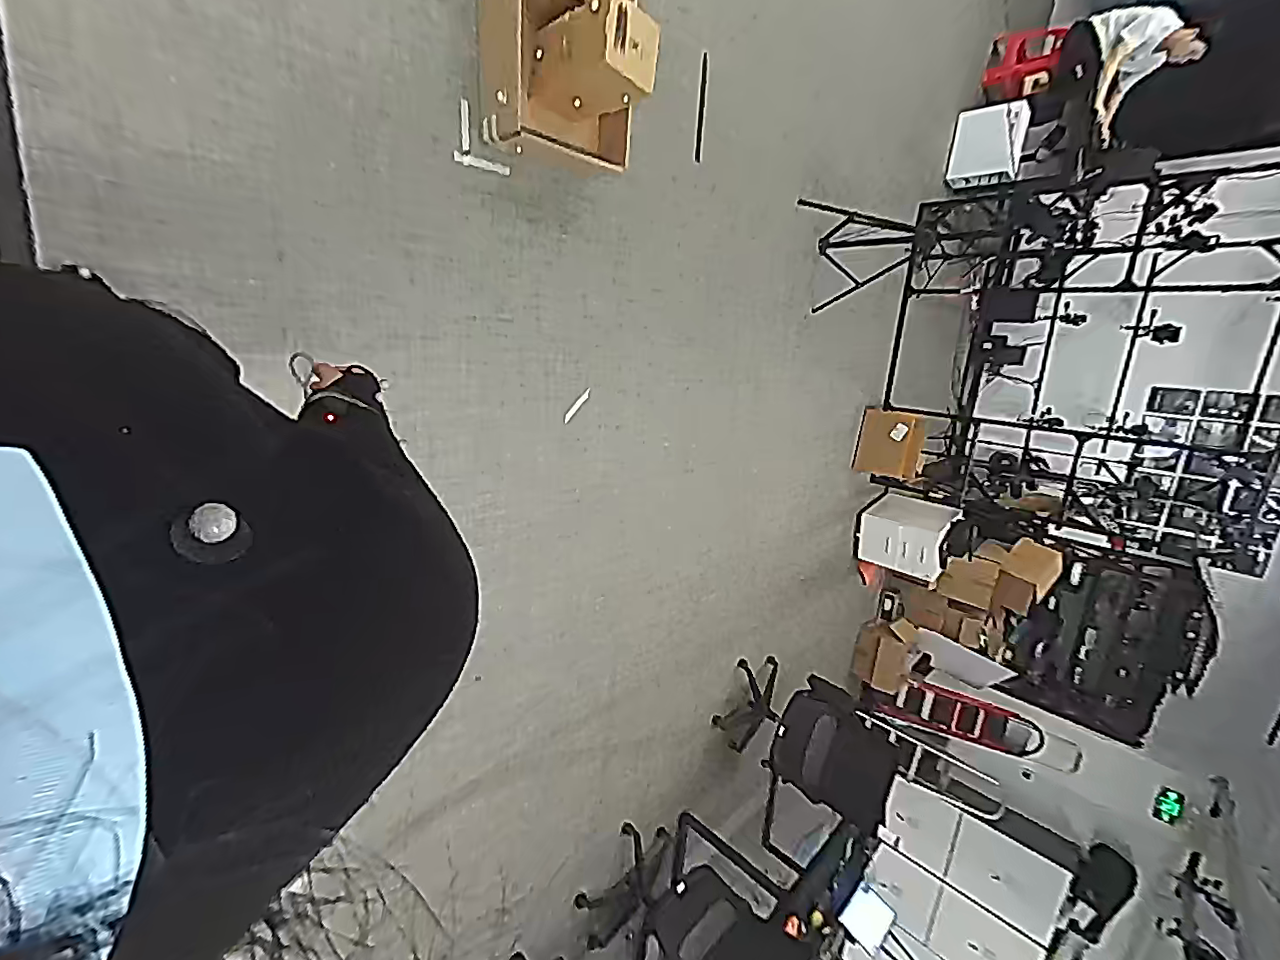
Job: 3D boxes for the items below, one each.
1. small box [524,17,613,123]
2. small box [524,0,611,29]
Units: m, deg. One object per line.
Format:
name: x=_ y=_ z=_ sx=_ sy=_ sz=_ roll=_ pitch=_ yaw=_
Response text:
small box: x=-0.202 y=-1.140 z=1.524 sx=0.179 sy=0.176 sz=0.168 roll=-4 pitch=103 yaw=-46
small box: x=-0.196 y=-1.345 z=1.455 sx=0.179 sy=0.176 sz=0.168 roll=-13 pitch=114 yaw=-44
